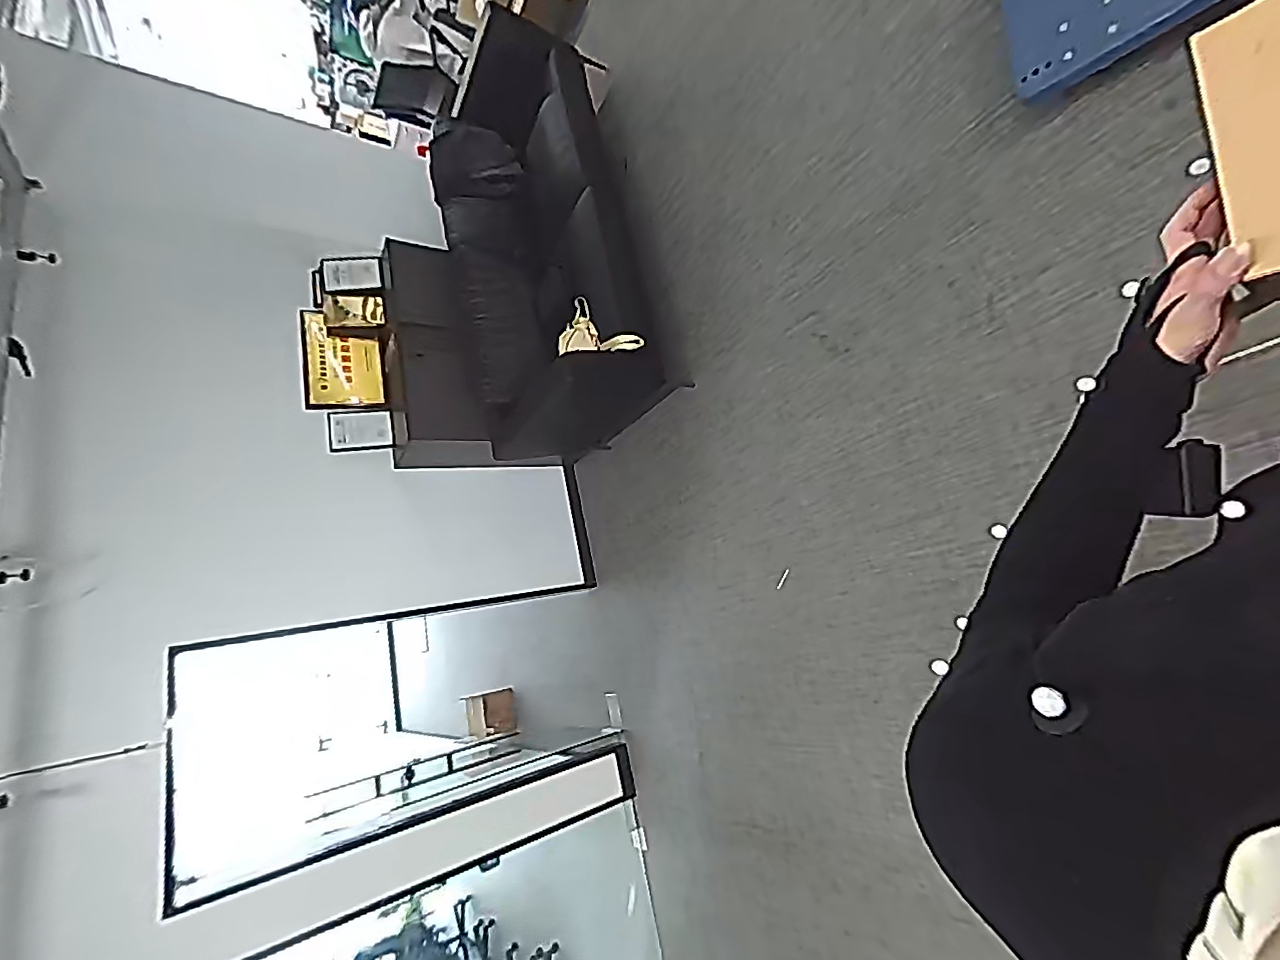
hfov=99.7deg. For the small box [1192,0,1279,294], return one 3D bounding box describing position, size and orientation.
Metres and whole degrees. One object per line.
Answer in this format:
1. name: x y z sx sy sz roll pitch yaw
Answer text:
1. small box: 0.509 -0.243 0.363 0.168 0.176 0.179 -10 89 53
